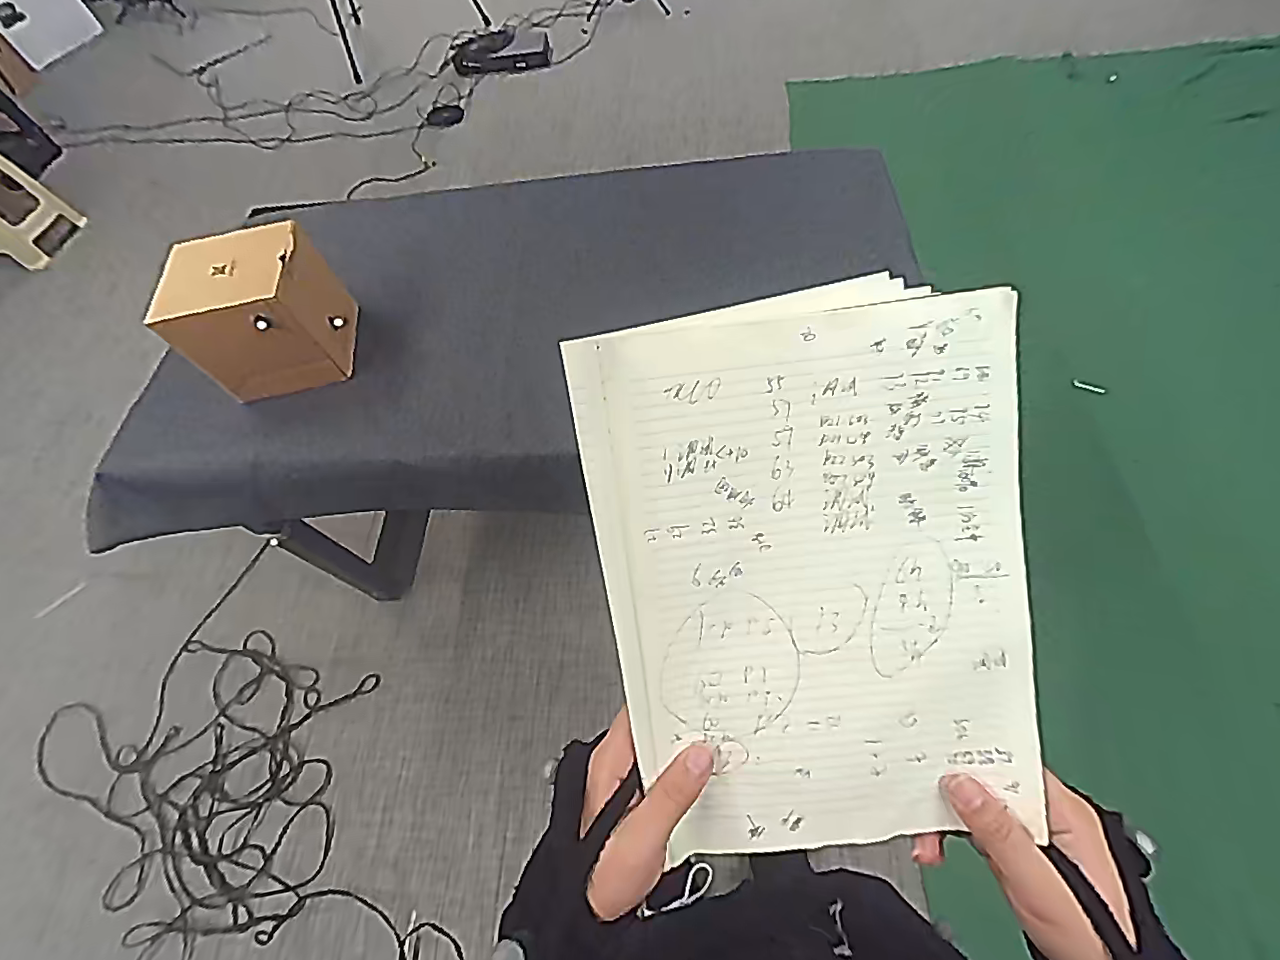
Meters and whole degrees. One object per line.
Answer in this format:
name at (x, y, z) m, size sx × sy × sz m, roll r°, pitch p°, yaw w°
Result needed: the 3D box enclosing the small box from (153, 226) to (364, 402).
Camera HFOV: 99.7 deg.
small box at (-0.546, -0.238, 0.802) m, size 0.179 × 0.176 × 0.168 m, roll -13°, pitch 59°, yaw 0°
